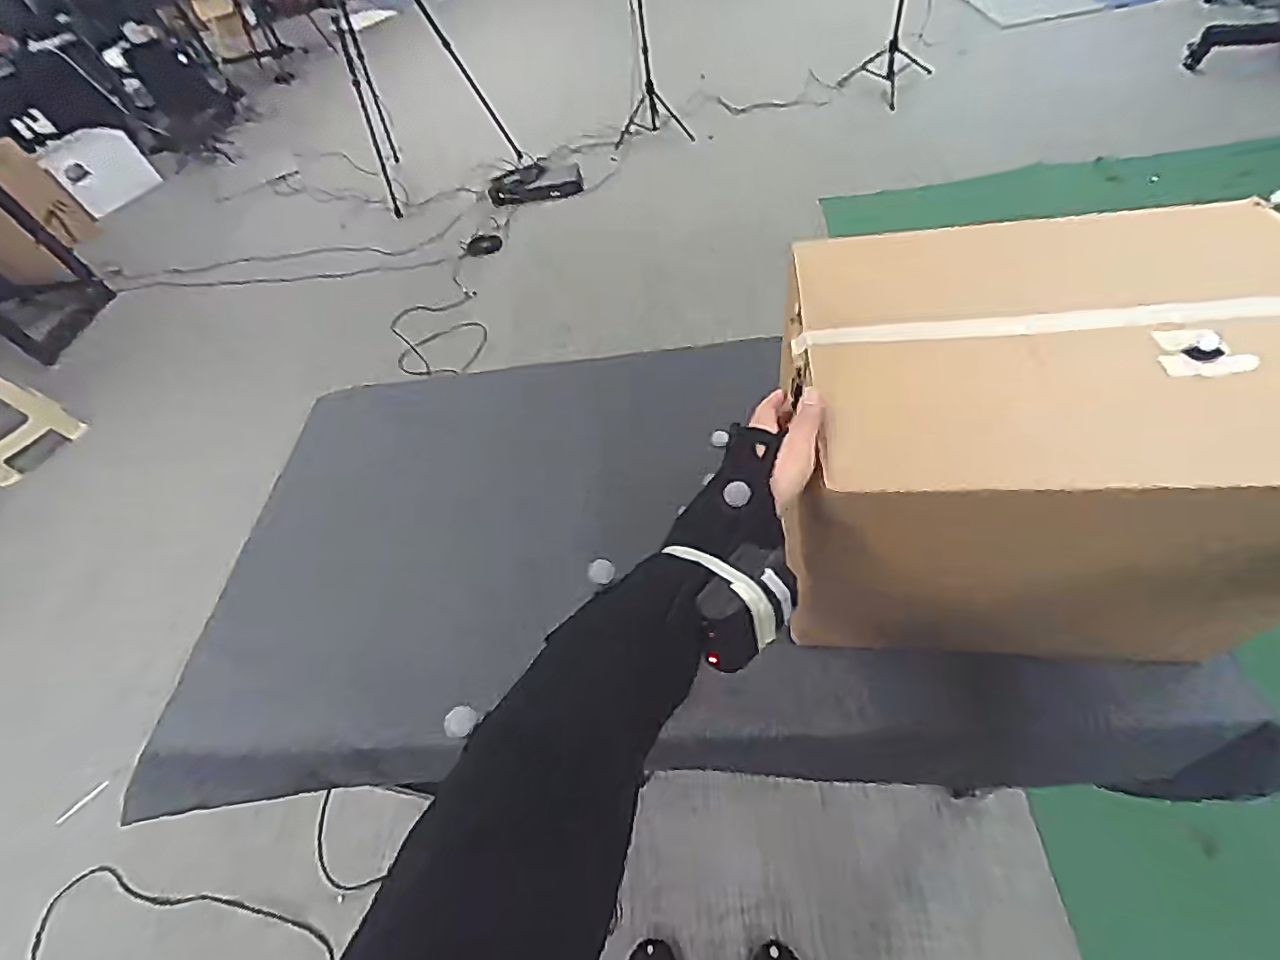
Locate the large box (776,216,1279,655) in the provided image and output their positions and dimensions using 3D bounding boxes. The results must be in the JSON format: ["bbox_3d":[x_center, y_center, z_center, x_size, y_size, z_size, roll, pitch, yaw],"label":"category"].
[{"bbox_3d":[0.362,-0.027,0.551,0.408,0.320,0.320,0,54,10],"label":"large box"}]
